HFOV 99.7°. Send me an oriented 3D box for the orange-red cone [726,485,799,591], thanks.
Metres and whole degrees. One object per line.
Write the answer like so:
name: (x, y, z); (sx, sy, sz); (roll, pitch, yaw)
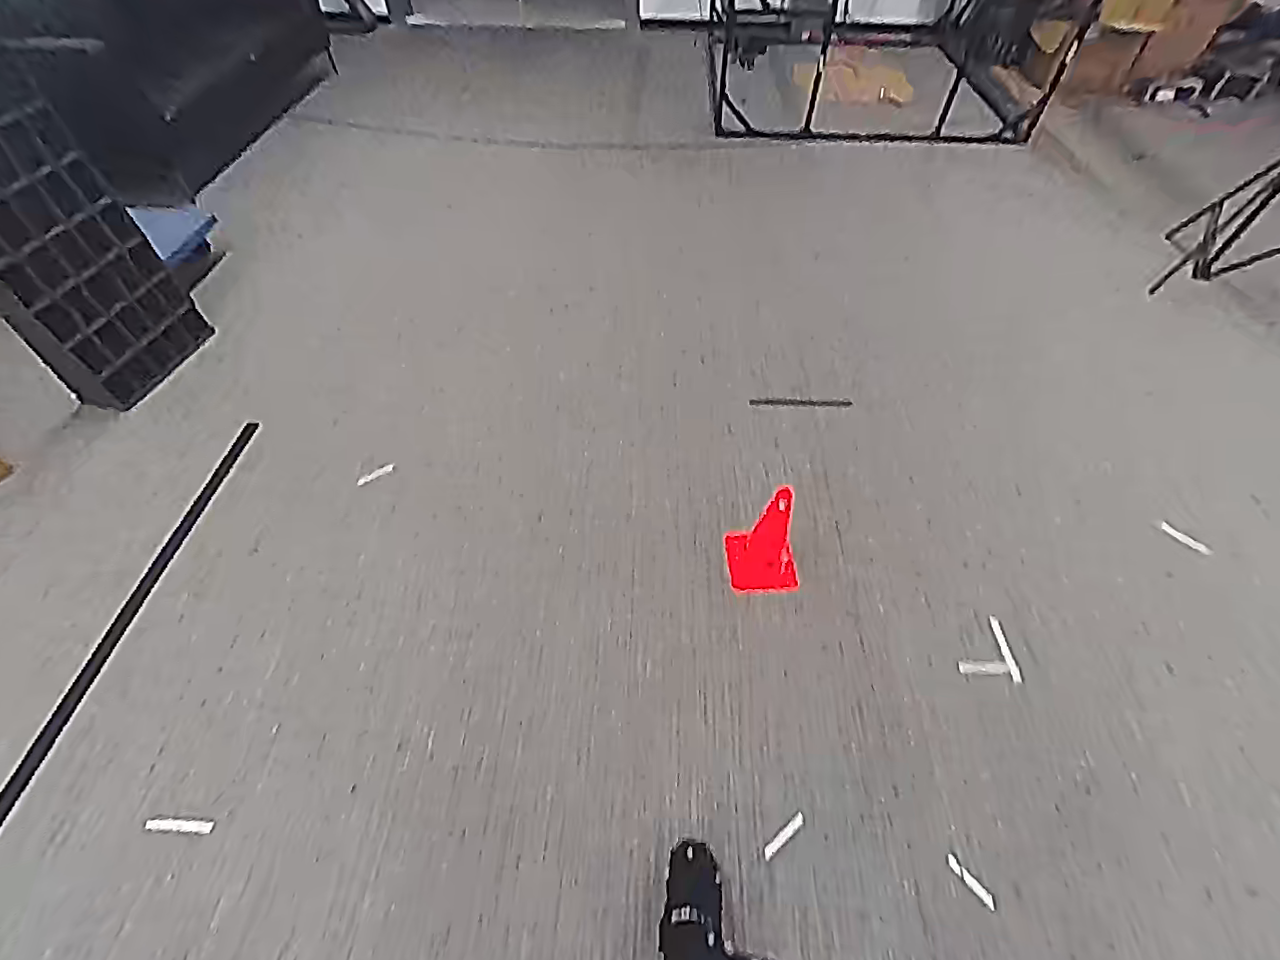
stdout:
orange-red cone: (0.362, 0.137, 1.485); (0.199, 0.360, 0.198); (-2, 52, 0)
